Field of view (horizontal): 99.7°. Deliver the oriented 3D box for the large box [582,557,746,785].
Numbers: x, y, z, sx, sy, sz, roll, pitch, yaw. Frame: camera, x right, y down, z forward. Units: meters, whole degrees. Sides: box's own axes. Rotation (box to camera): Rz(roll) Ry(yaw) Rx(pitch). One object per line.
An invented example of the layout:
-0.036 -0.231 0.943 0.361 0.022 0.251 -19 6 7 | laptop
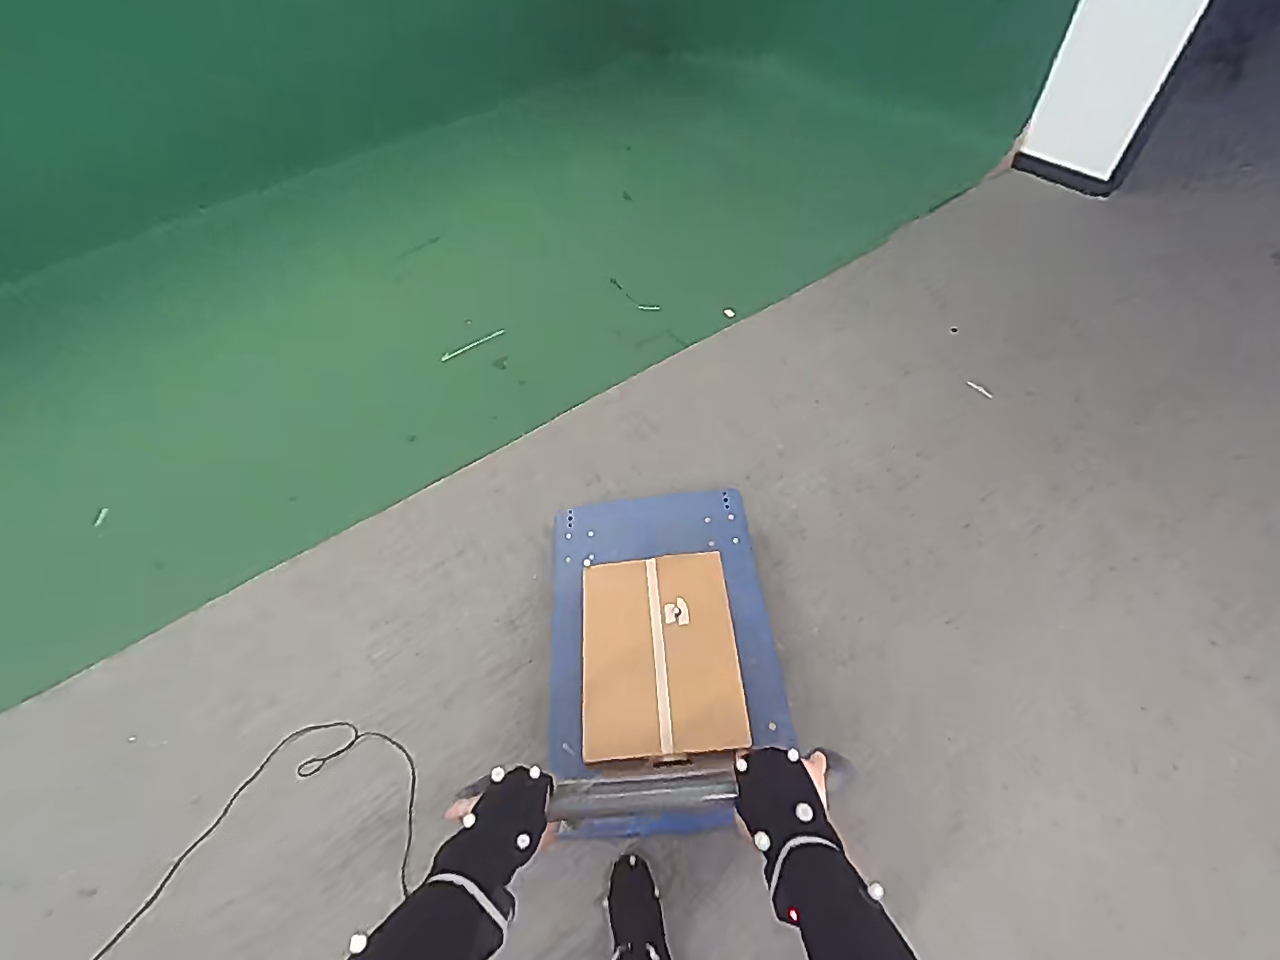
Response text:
0.051 0.439 1.239 0.320 0.320 0.408 -6 53 3 | large box
